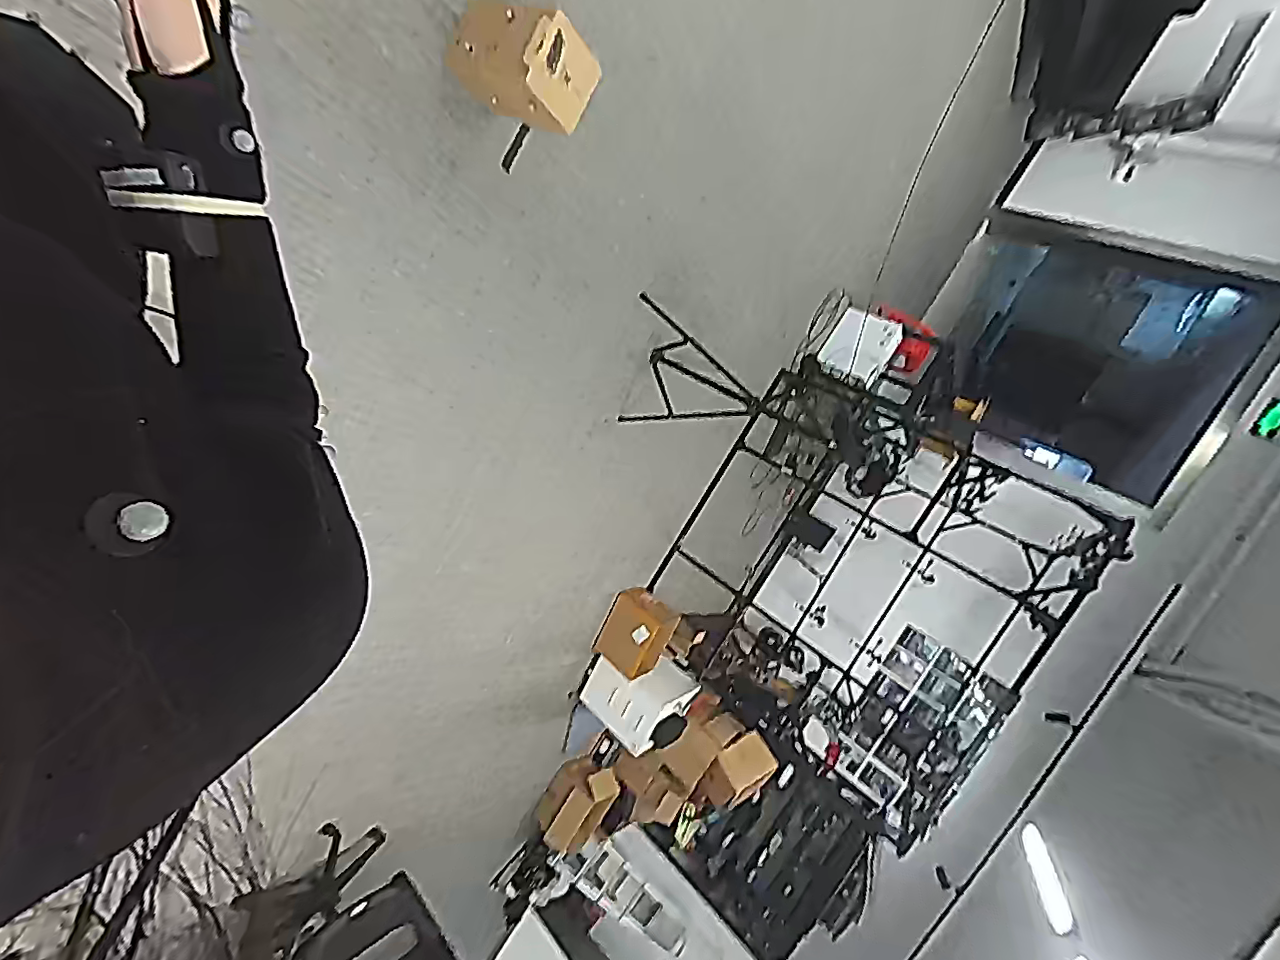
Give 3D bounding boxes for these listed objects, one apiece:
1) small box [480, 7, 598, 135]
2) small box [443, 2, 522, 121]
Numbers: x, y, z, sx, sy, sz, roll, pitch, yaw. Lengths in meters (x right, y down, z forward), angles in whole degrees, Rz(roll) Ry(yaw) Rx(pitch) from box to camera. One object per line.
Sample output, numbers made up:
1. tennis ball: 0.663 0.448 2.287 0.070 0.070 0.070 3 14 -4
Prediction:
1. small box: -0.237 -0.950 1.259 0.168 0.176 0.179 -60 150 8
2. small box: -0.353 -1.034 1.341 0.168 0.176 0.179 -60 151 9
